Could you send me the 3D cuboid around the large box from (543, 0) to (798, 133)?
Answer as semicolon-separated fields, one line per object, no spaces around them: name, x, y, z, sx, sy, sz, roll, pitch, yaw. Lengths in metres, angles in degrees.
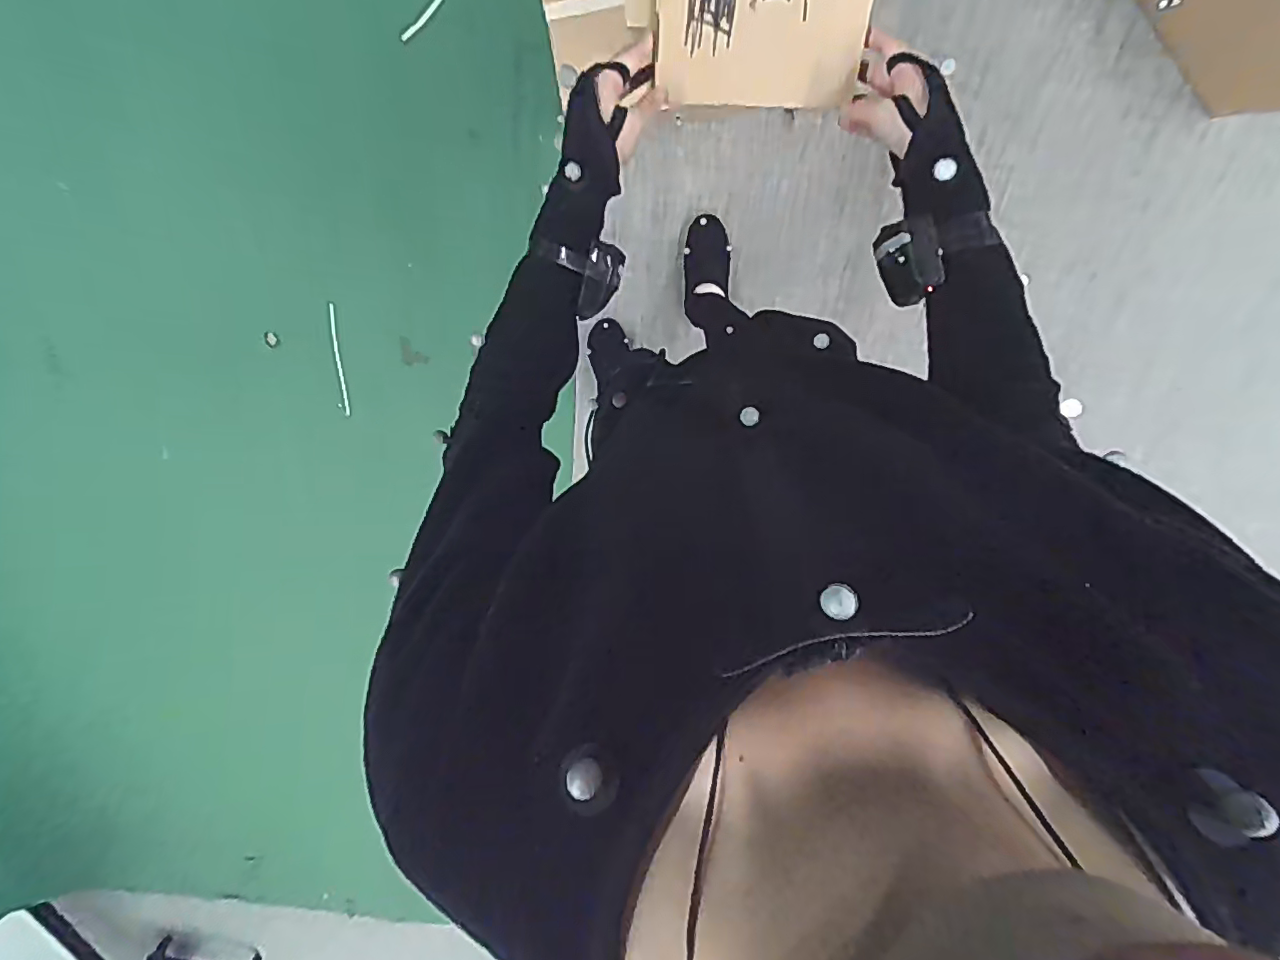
large box;0.054;-0.847;0.977;0.408;0.320;0.320;-6;118;7

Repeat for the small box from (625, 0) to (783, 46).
small box;0.072;-0.627;0.631;0.179;0.176;0.168;-1;120;2

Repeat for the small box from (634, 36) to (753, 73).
small box;0.074;-0.702;0.775;0.168;0.176;0.179;-2;120;3
